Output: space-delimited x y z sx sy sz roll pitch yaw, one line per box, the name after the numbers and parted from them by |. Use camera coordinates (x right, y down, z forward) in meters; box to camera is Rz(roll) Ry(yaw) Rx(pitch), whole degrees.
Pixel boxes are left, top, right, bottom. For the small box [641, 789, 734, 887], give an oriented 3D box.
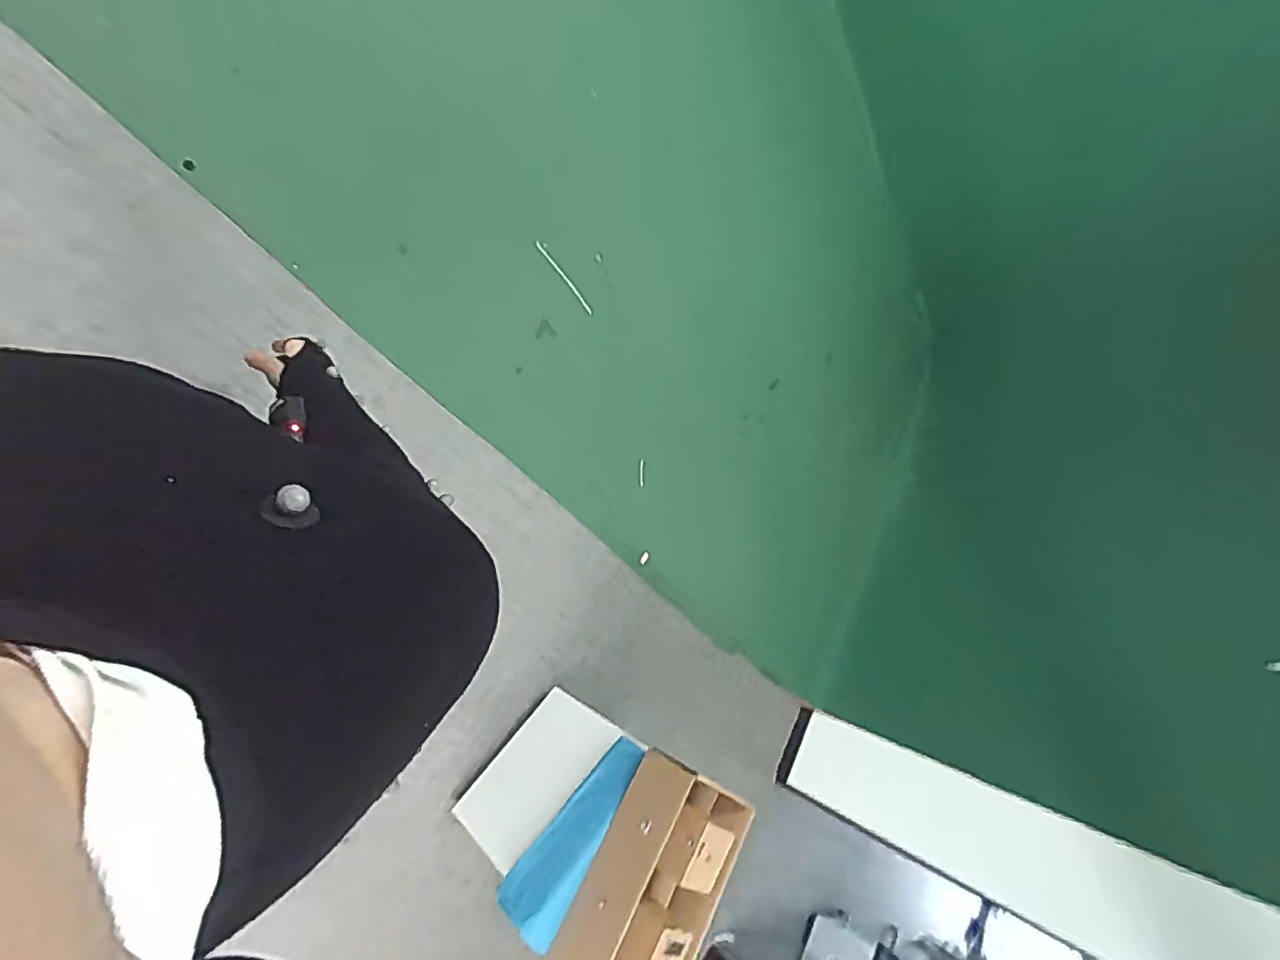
0.135 1.021 1.551 0.179 0.176 0.168 48 64 -38 | small box
